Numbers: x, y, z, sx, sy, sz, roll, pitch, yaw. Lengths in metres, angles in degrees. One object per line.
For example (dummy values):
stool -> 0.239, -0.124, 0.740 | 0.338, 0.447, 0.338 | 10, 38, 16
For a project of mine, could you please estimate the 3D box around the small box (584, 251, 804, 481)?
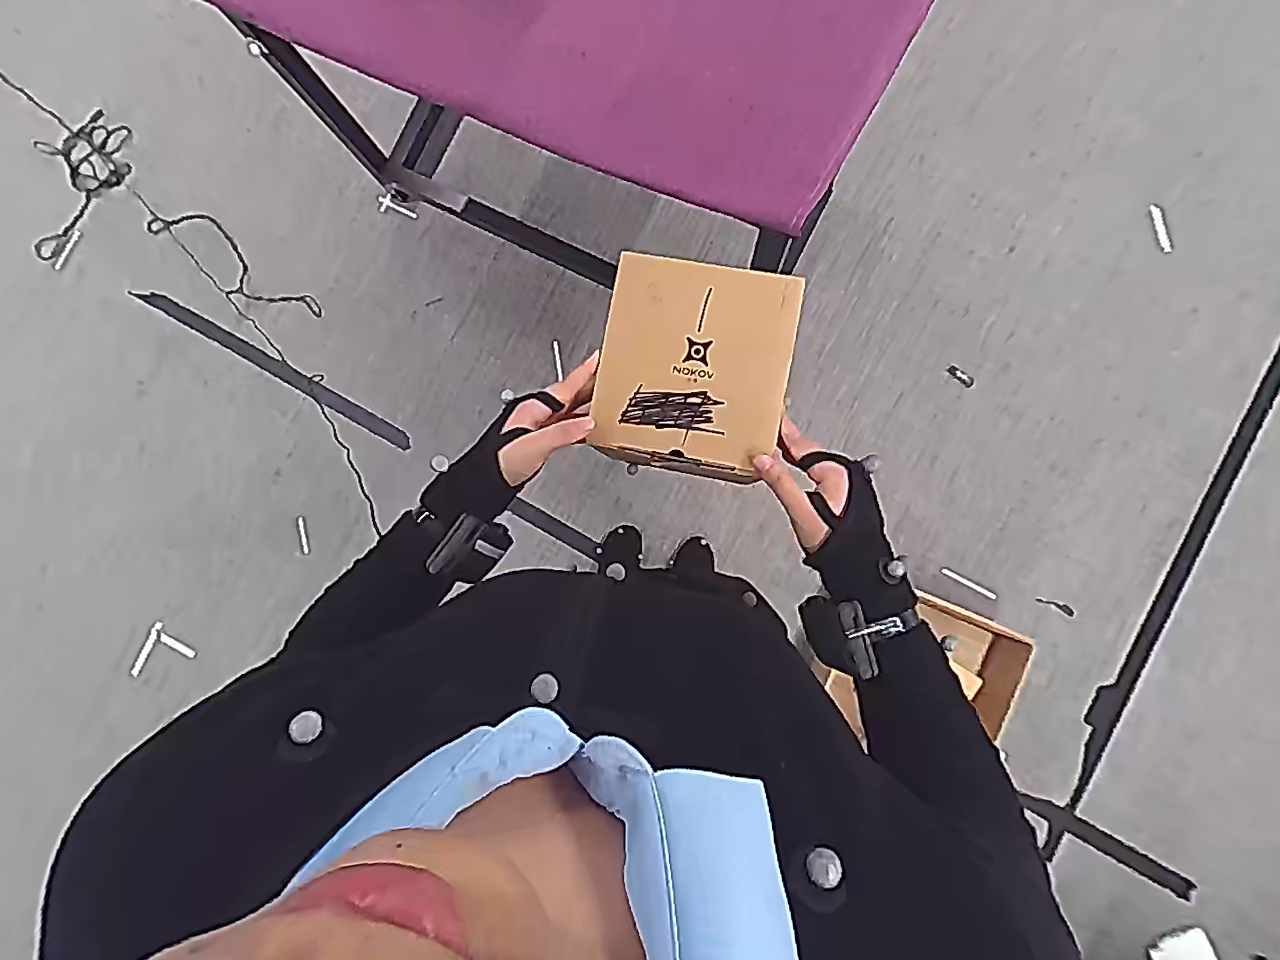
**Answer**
small box -> 0.053, -0.099, 0.545 | 0.168, 0.176, 0.179 | 11, 87, 5

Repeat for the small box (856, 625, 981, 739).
small box -> 0.659, 0.473, 1.301 | 0.179, 0.176, 0.168 | 34, 91, 5
